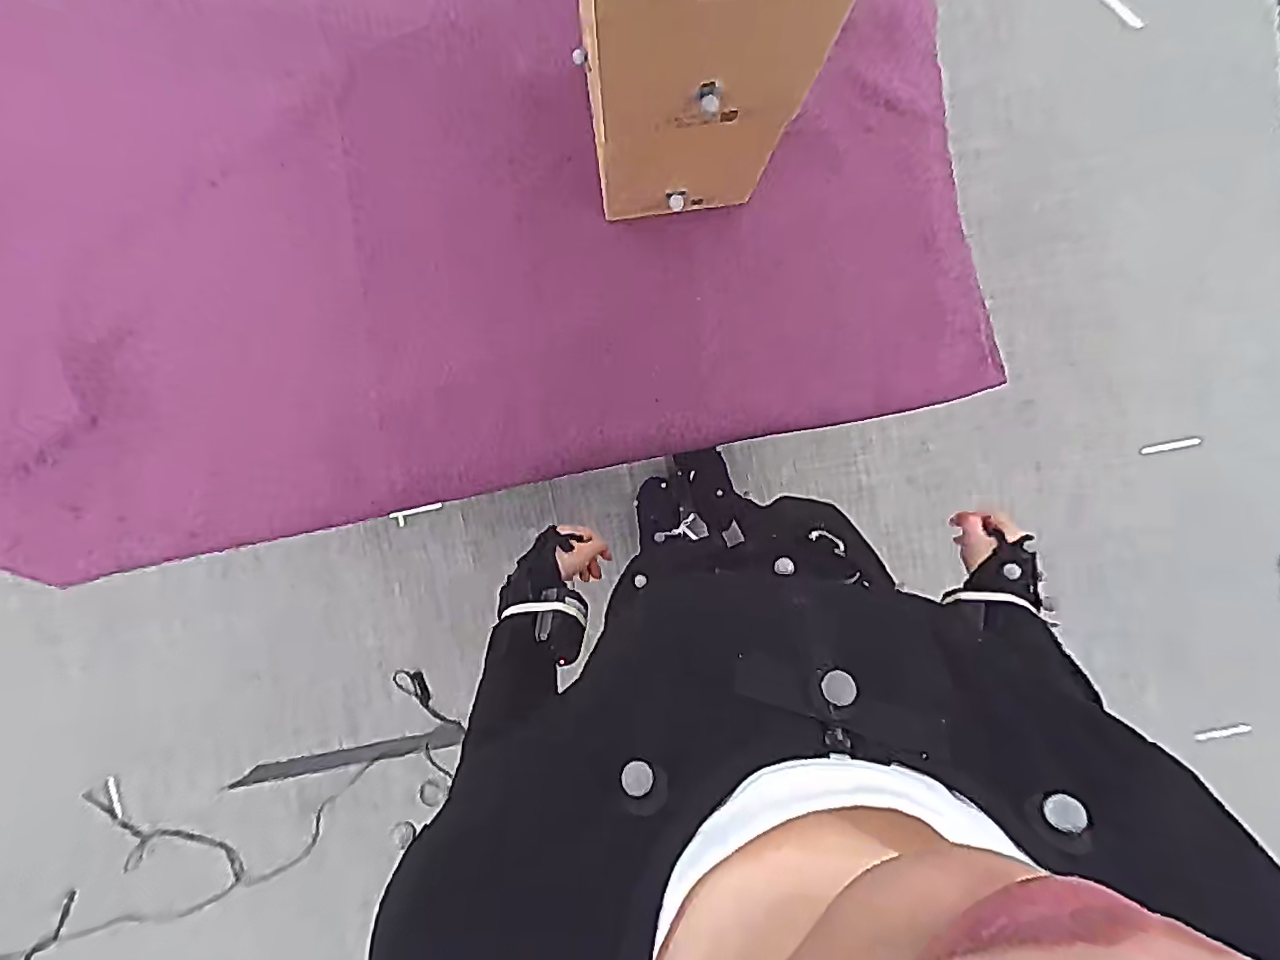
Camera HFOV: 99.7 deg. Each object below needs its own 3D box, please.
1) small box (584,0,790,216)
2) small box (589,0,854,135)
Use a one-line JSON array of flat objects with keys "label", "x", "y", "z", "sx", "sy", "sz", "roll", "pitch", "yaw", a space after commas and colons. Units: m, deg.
[{"label": "small box", "x": 0.036, "y": -0.391, "z": 0.535, "sx": 0.168, "sy": 0.176, "sz": 0.179, "roll": -8, "pitch": 95, "yaw": -1}, {"label": "small box", "x": 0.044, "y": -0.379, "z": 0.370, "sx": 0.168, "sy": 0.176, "sz": 0.179, "roll": -8, "pitch": 94, "yaw": 0}]
